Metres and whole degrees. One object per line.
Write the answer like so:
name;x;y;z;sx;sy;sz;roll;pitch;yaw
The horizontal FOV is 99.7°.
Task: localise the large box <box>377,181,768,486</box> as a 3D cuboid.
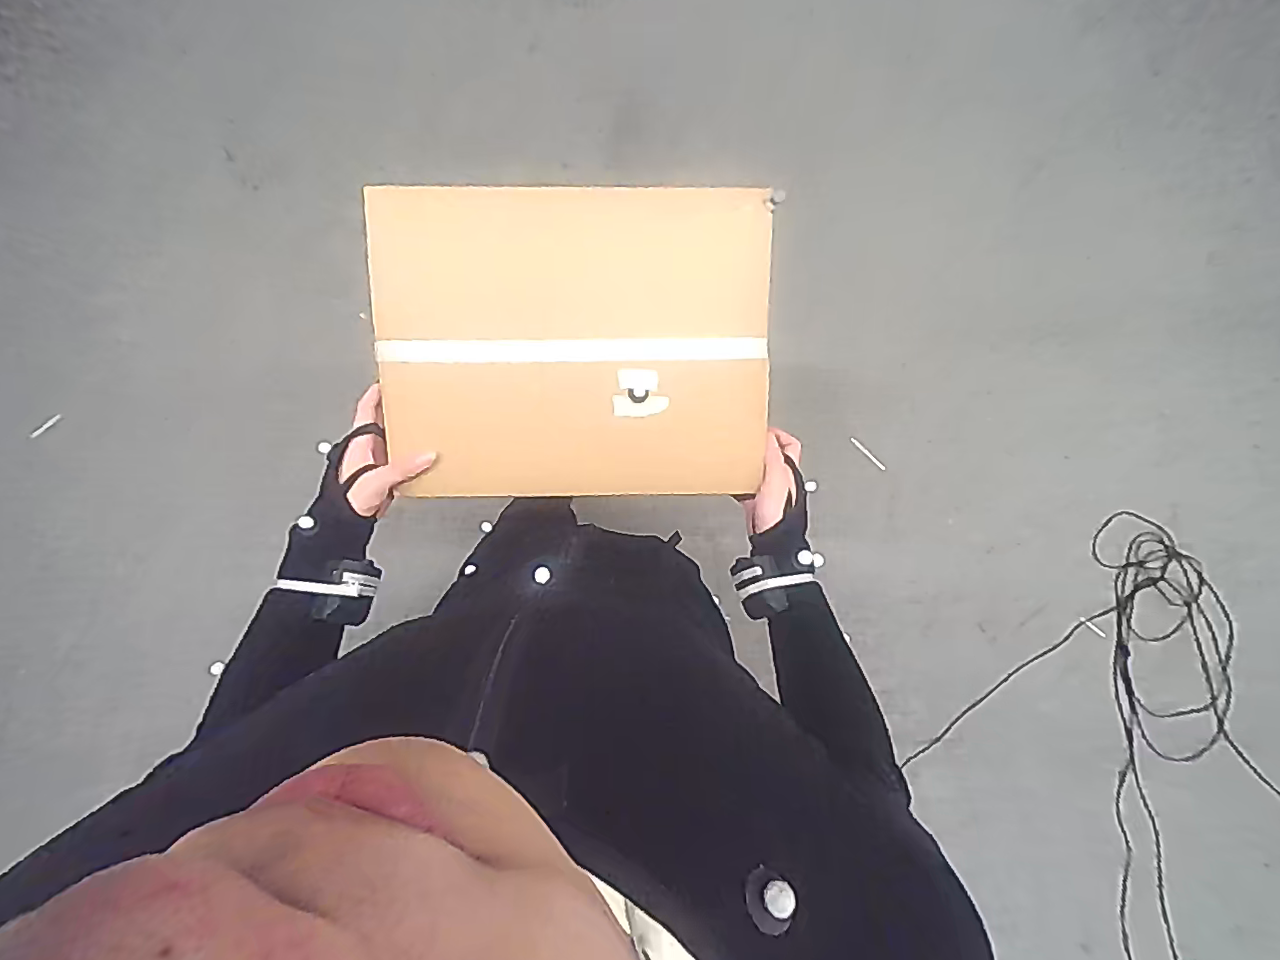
large box;-0.072;-0.174;0.718;0.408;0.320;0.320;-1;101;-2
